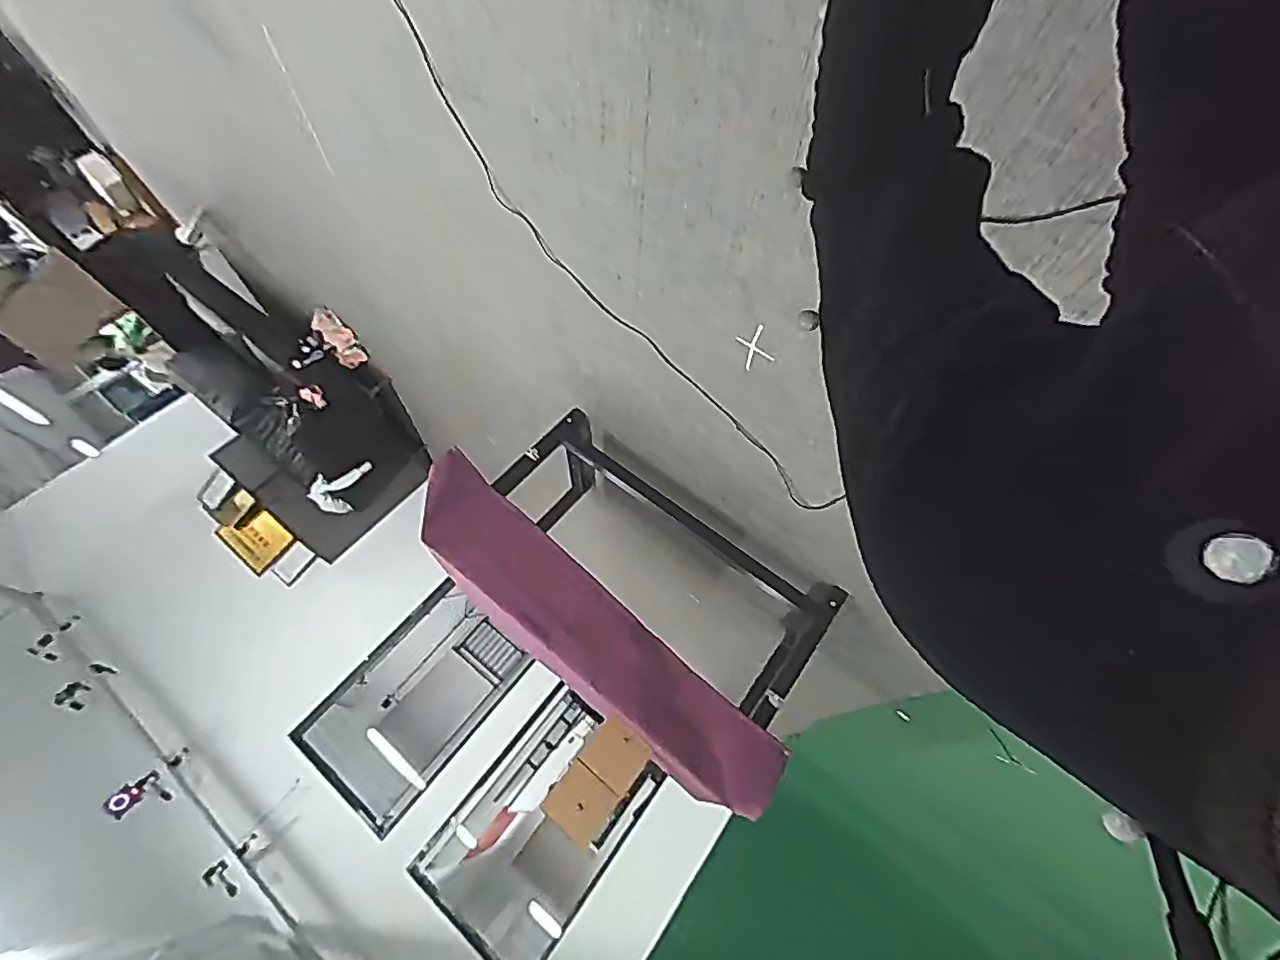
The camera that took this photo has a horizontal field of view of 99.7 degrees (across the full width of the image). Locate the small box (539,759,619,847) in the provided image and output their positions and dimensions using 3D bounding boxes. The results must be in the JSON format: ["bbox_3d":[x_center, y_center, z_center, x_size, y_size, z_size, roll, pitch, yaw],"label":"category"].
[{"bbox_3d":[-0.183,0.986,1.667,0.179,0.176,0.168,34,154,18],"label":"small box"}]

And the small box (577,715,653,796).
[{"bbox_3d":[-0.079,0.877,1.734,0.179,0.176,0.168,35,155,18],"label":"small box"}]
